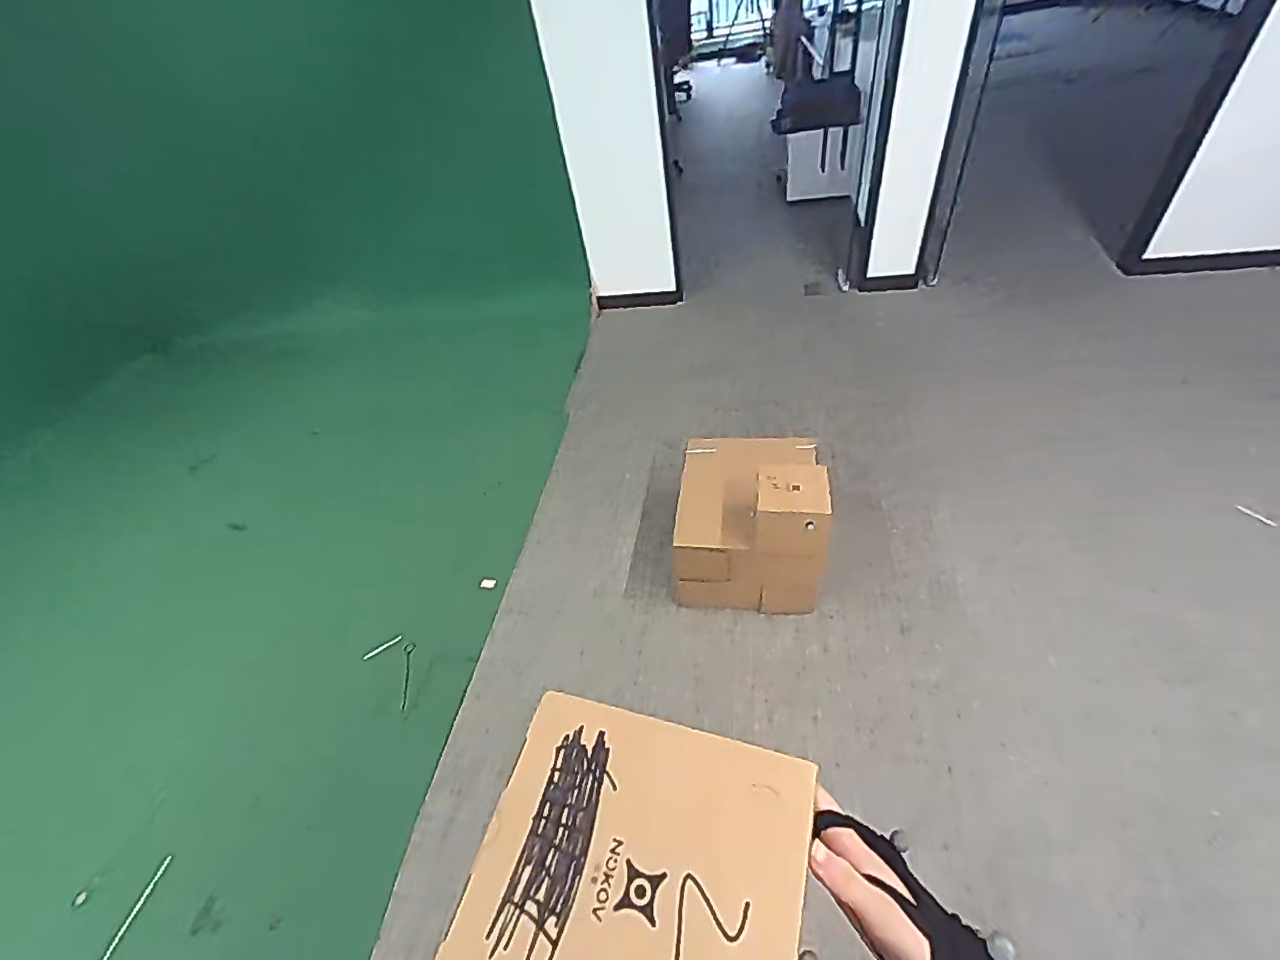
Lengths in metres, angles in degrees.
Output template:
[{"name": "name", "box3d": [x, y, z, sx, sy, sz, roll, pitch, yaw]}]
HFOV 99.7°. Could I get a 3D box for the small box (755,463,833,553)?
[{"name": "small box", "box3d": [0.391, 0.074, 1.395, 0.179, 0.176, 0.168, 1, 46, 12]}]
